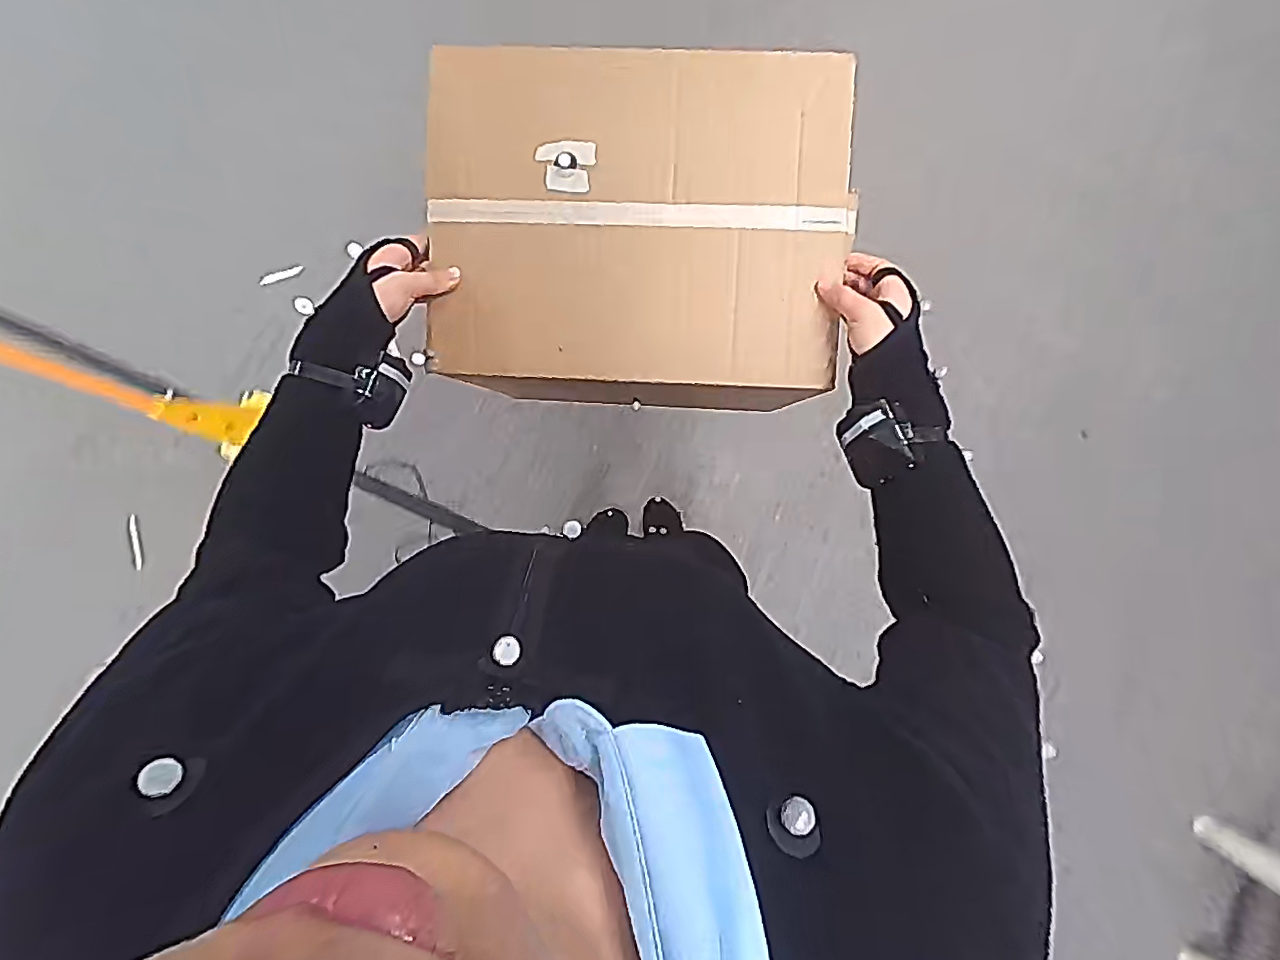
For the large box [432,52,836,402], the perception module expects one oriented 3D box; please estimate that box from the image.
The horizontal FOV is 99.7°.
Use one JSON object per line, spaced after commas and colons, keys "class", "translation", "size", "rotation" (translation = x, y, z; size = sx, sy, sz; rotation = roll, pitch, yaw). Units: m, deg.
{"class": "large box", "translation": [0.000, -0.264, 0.682], "size": [0.408, 0.320, 0.320], "rotation": [1, 92, 4]}
